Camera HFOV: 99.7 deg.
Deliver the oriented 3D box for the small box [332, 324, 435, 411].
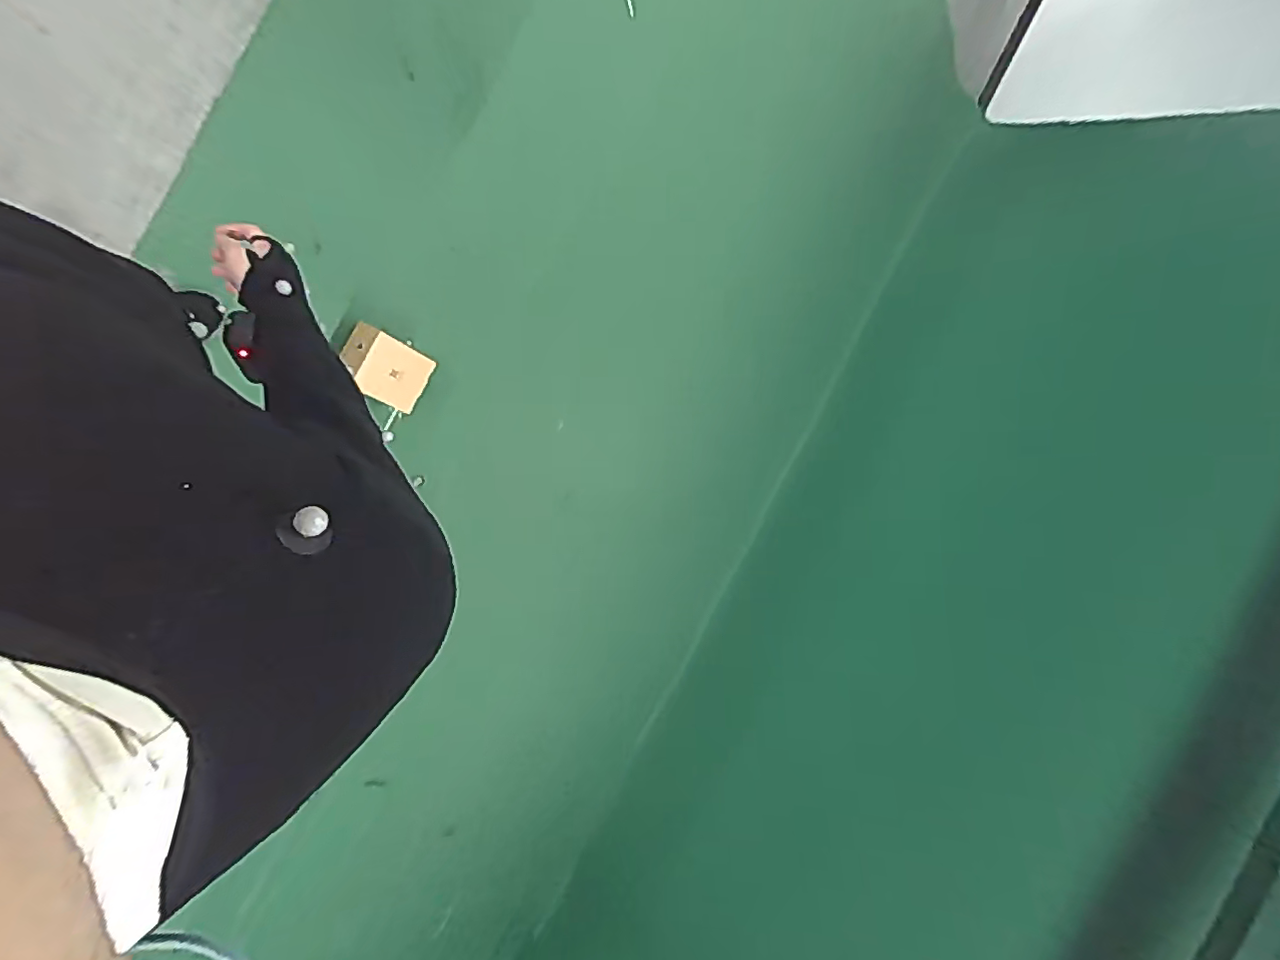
[{"bbox_3d":[-0.714,-0.315,1.496,0.179,0.176,0.168,29,88,-51],"label":"small box"}]
